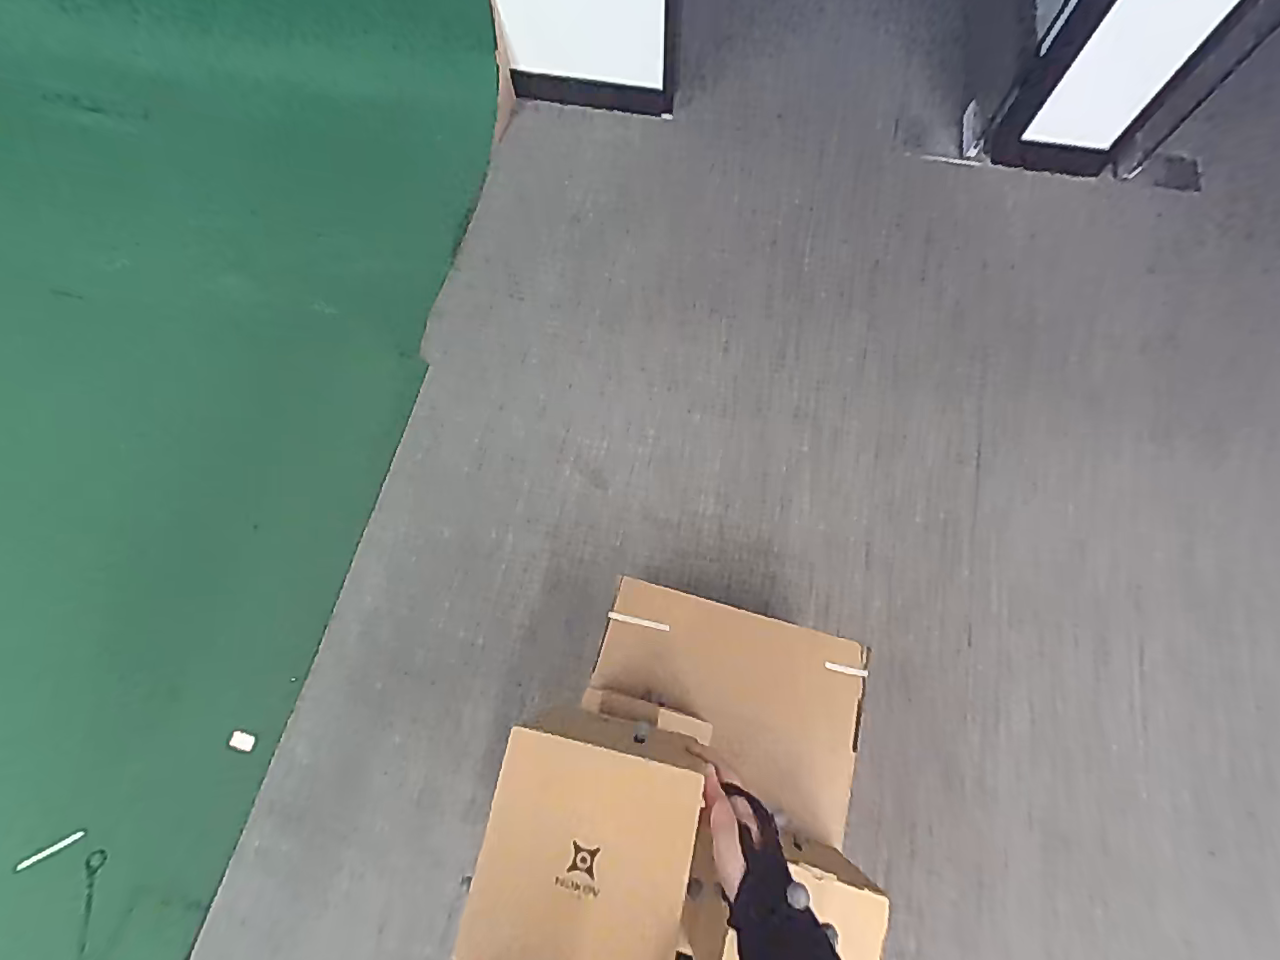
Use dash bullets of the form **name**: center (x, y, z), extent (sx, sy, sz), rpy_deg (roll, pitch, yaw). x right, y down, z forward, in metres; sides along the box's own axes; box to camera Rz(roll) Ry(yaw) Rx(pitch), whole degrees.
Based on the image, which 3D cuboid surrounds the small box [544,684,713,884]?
- **small box**: center (-0.008, 0.381, 0.713), extent (0.168, 0.176, 0.179), rpy_deg (15, 70, 6)

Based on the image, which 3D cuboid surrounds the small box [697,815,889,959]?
- **small box**: center (0.172, 0.535, 0.651), extent (0.168, 0.176, 0.179), rpy_deg (17, 70, 7)
